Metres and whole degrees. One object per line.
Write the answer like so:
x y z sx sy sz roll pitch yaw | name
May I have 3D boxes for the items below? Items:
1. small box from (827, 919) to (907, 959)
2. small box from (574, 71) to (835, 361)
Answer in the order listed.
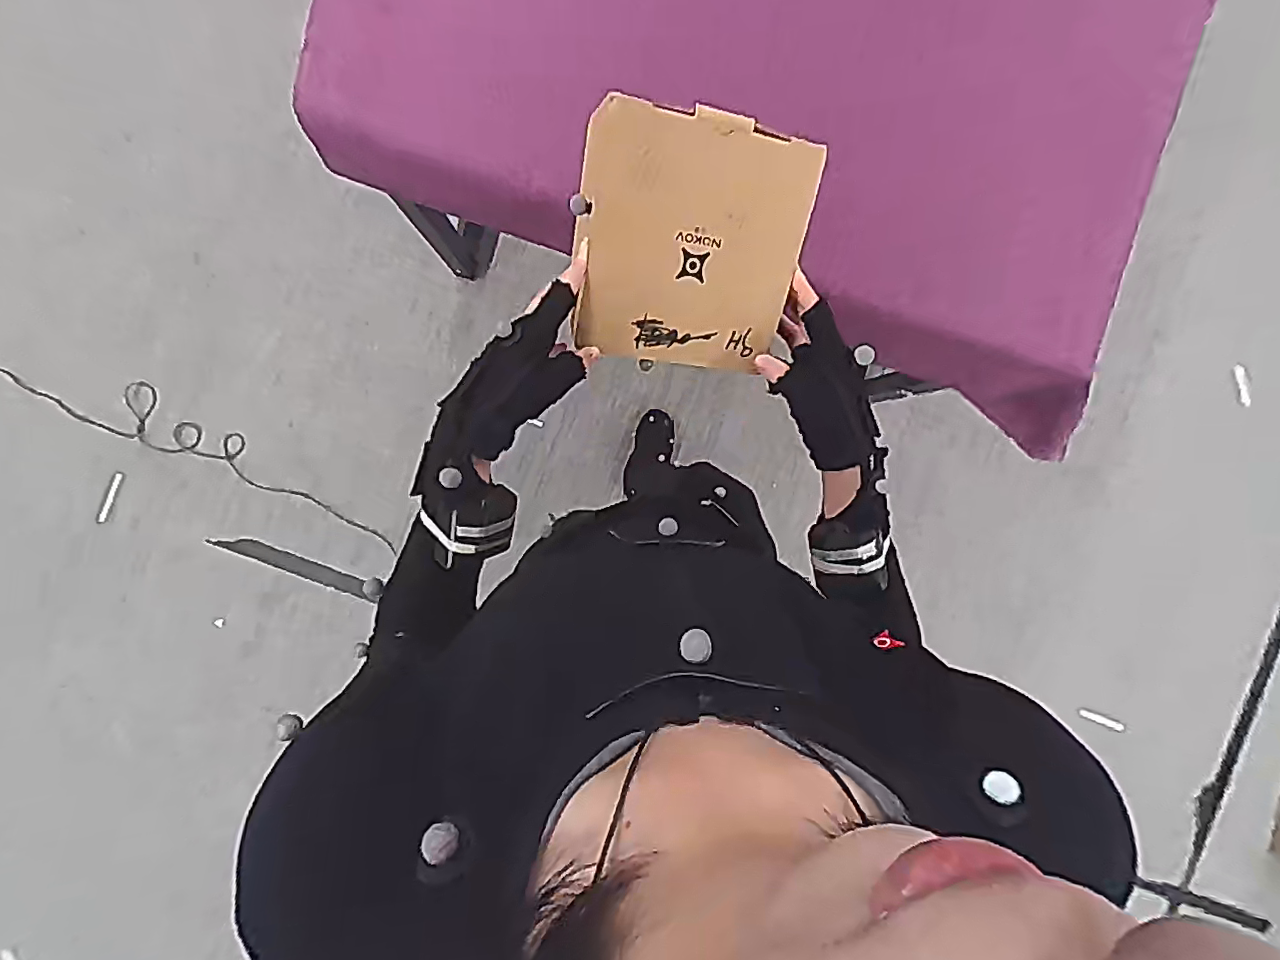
0.672 1.413 1.533 0.179 0.176 0.168 37 88 -3 | small box
0.035 -0.223 0.477 0.168 0.176 0.179 5 118 -13 | small box
